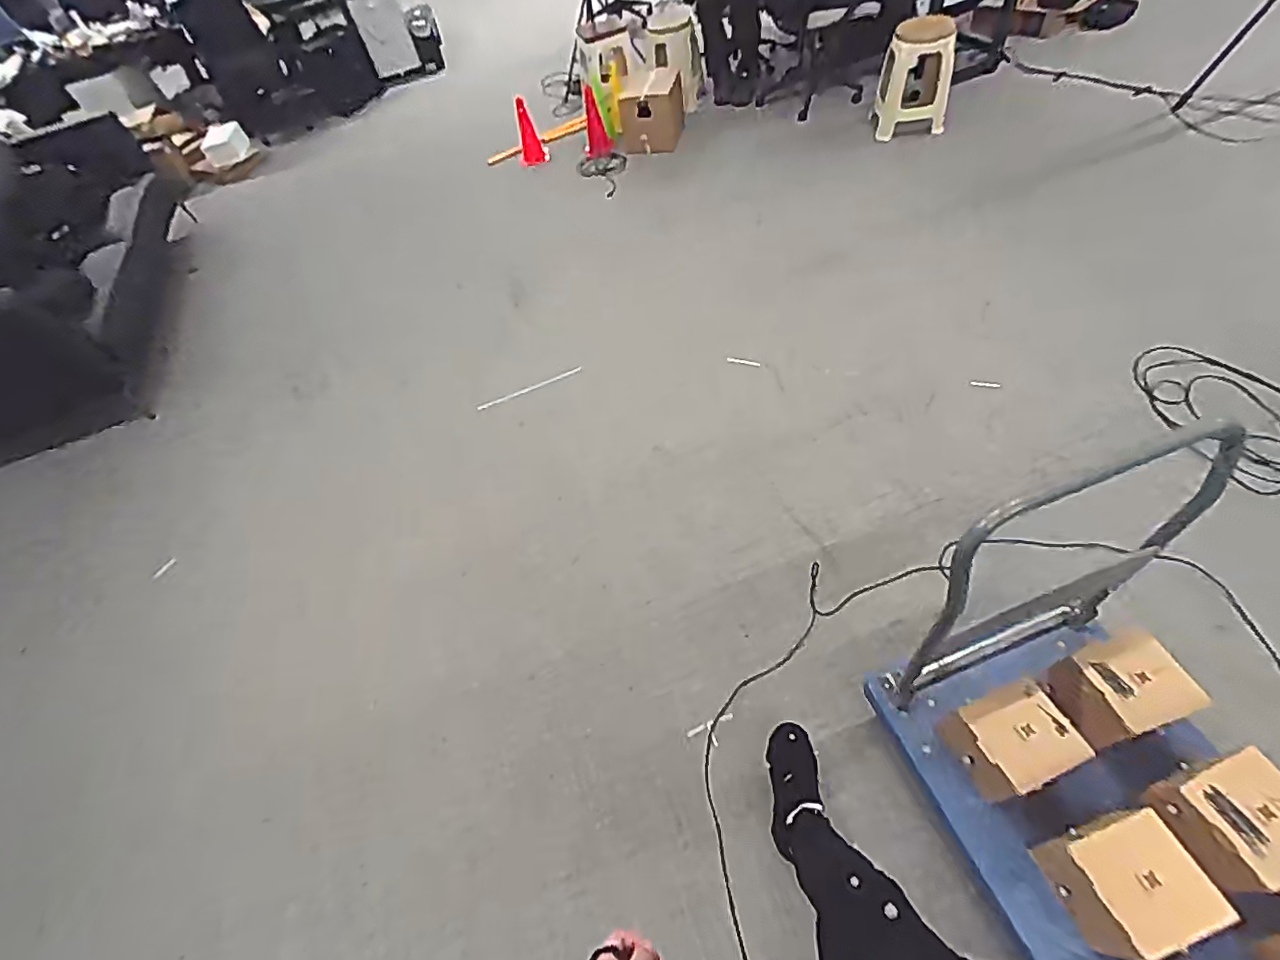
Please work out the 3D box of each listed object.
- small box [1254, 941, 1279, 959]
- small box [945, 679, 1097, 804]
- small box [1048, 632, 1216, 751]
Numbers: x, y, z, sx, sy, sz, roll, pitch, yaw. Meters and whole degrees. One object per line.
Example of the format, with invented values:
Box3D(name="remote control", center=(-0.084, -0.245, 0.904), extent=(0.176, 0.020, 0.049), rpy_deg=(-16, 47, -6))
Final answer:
Box3D(name="small box", center=(1.155, 0.821, 0.840), extent=(0.168, 0.176, 0.179), rpy_deg=(-20, 53, -2))
Box3D(name="small box", center=(0.764, 0.544, 1.114), extent=(0.179, 0.176, 0.168), rpy_deg=(-23, 54, -5))
Box3D(name="small box", center=(1.009, 0.449, 1.136), extent=(0.179, 0.176, 0.168), rpy_deg=(-19, 54, -4))
